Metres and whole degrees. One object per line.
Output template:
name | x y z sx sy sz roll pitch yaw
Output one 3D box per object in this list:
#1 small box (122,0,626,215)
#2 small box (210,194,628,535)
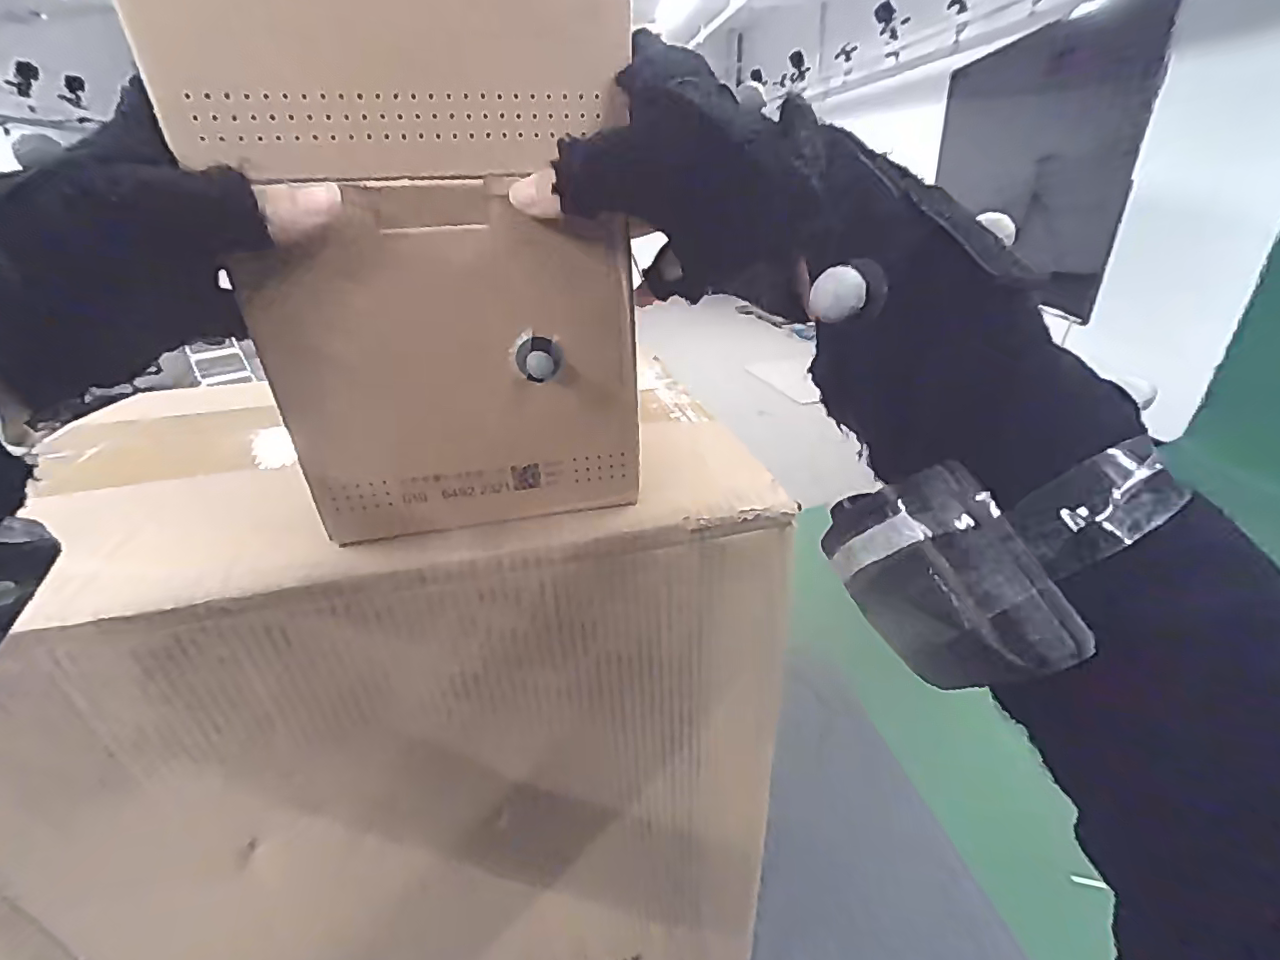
small box | -0.105 -0.219 0.251 0.179 0.176 0.168 -7 31 -13
small box | -0.102 -0.077 0.332 0.168 0.176 0.179 -7 28 -10
